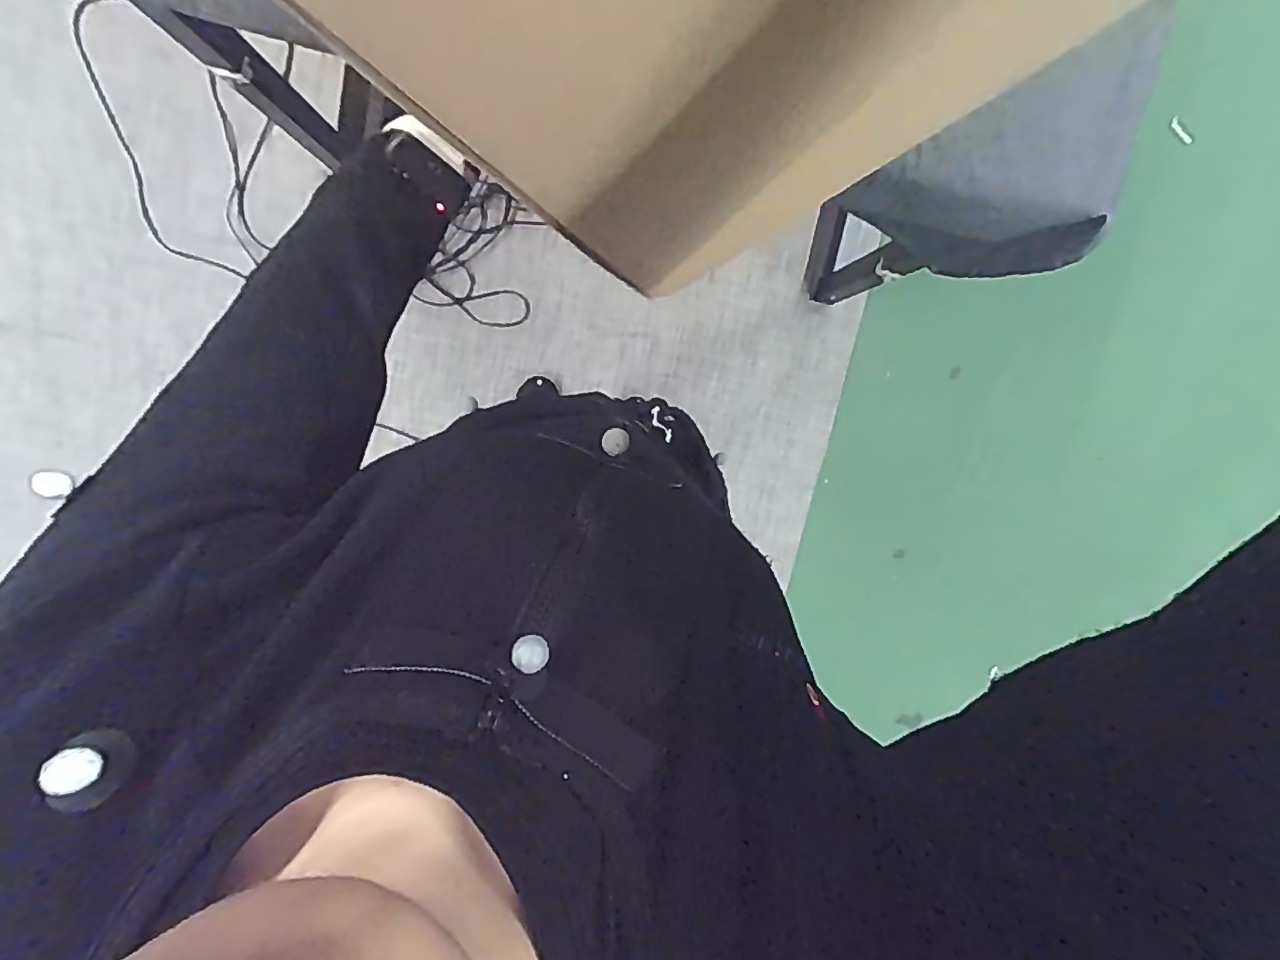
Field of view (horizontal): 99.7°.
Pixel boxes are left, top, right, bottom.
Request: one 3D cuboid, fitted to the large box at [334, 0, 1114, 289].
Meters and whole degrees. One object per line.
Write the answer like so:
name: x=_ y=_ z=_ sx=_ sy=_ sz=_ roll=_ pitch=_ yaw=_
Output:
large box: x=0.070 y=-0.351 z=0.203 sx=0.408 sy=0.320 sz=0.320 roll=-28 pitch=78 yaw=23
